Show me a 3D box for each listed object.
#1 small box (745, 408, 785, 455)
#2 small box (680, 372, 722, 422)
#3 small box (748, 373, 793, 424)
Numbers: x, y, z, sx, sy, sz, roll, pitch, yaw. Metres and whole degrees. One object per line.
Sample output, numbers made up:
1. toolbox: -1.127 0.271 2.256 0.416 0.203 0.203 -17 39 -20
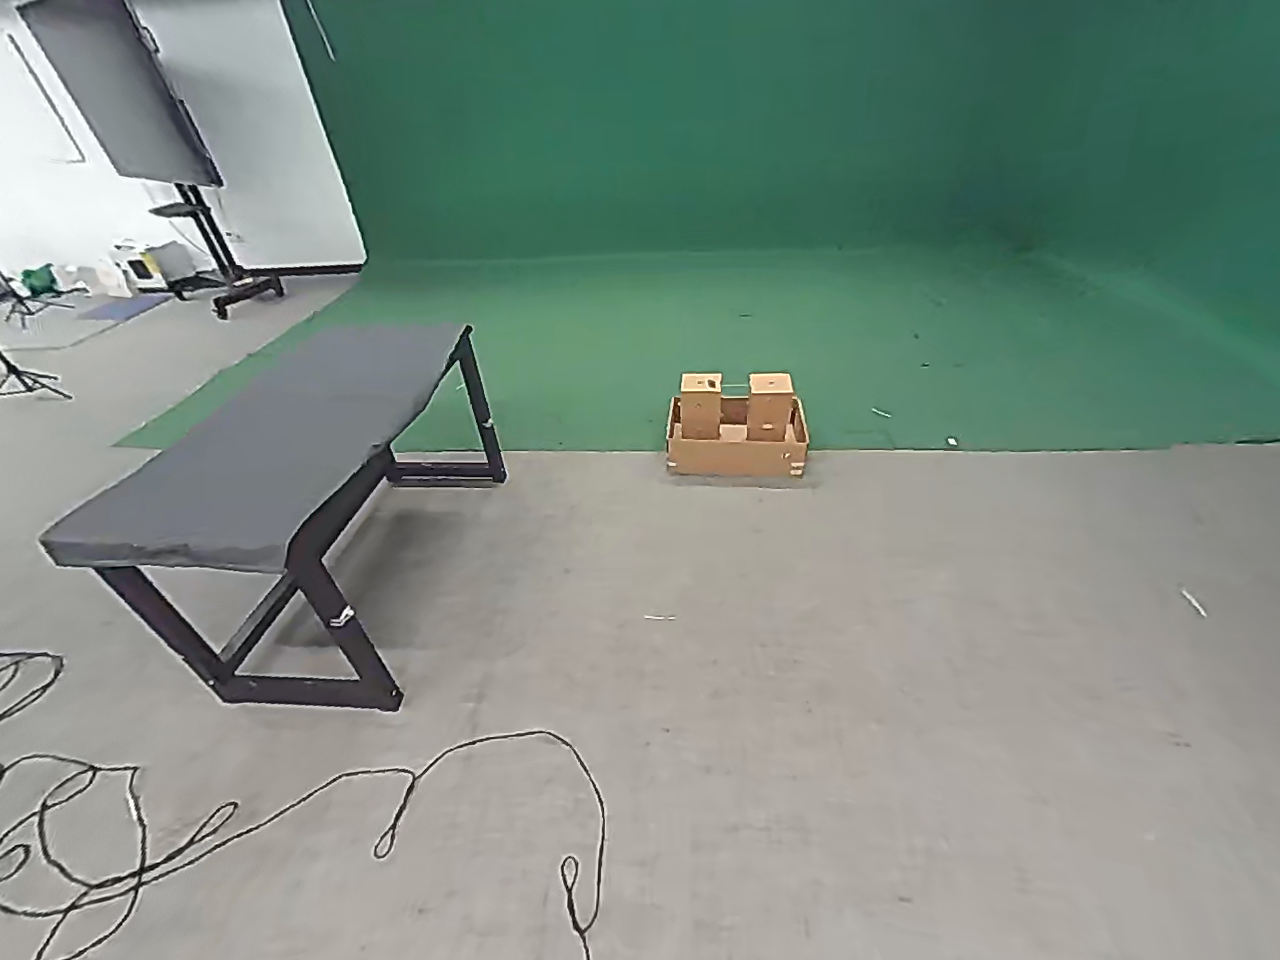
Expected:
1. small box: 0.573 -0.227 2.481 0.168 0.176 0.179 2 40 9
2. small box: 0.274 -0.369 2.416 0.179 0.176 0.168 2 39 8
3. small box: 0.570 -0.359 2.385 0.179 0.176 0.168 1 41 6
